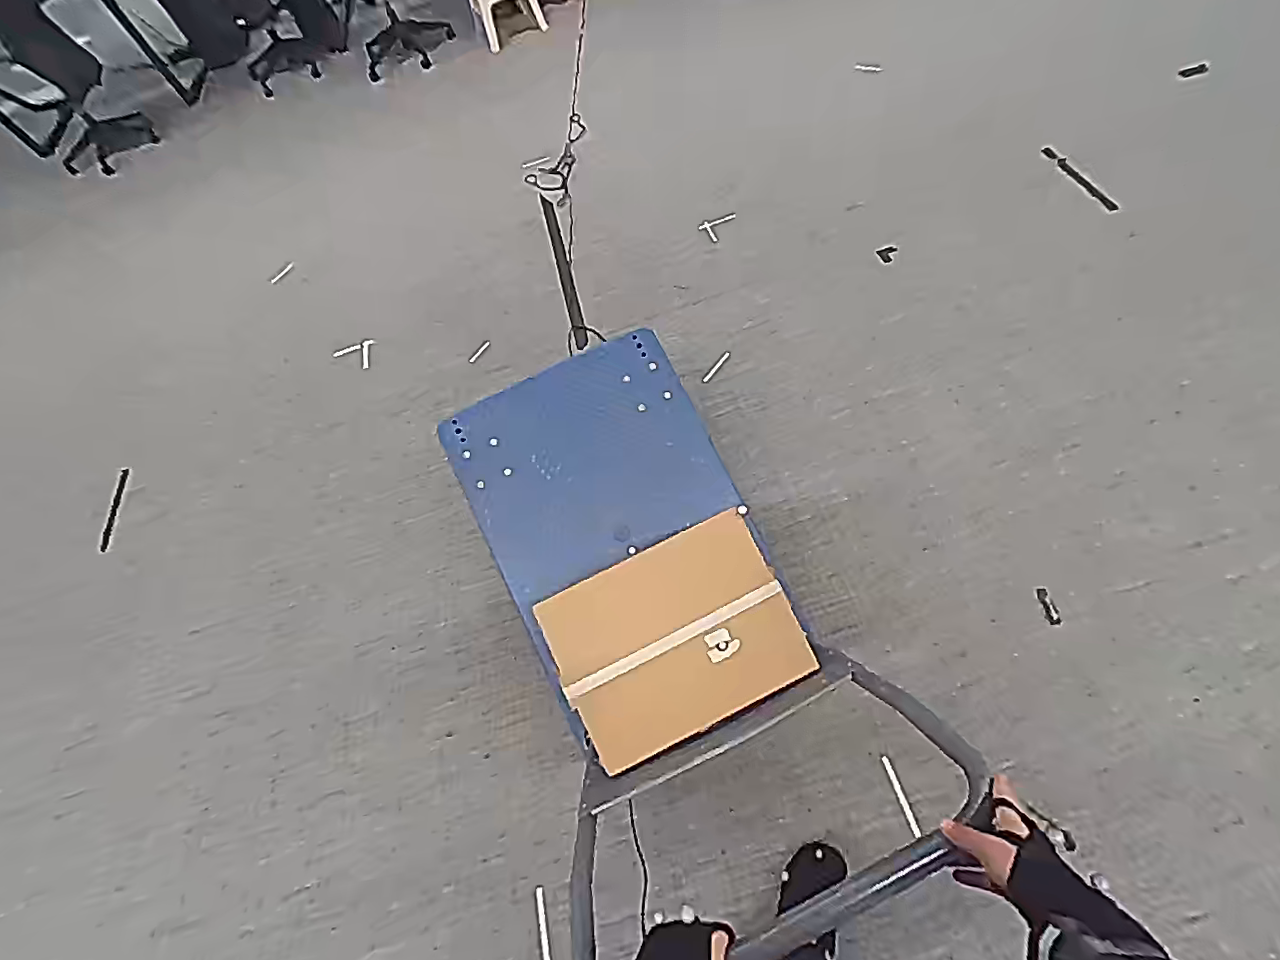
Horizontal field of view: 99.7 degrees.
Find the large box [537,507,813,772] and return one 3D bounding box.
[{"bbox_3d":[0.057,0.294,1.089,0.408,0.320,0.320,-26,84,-5],"label":"large box"}]
